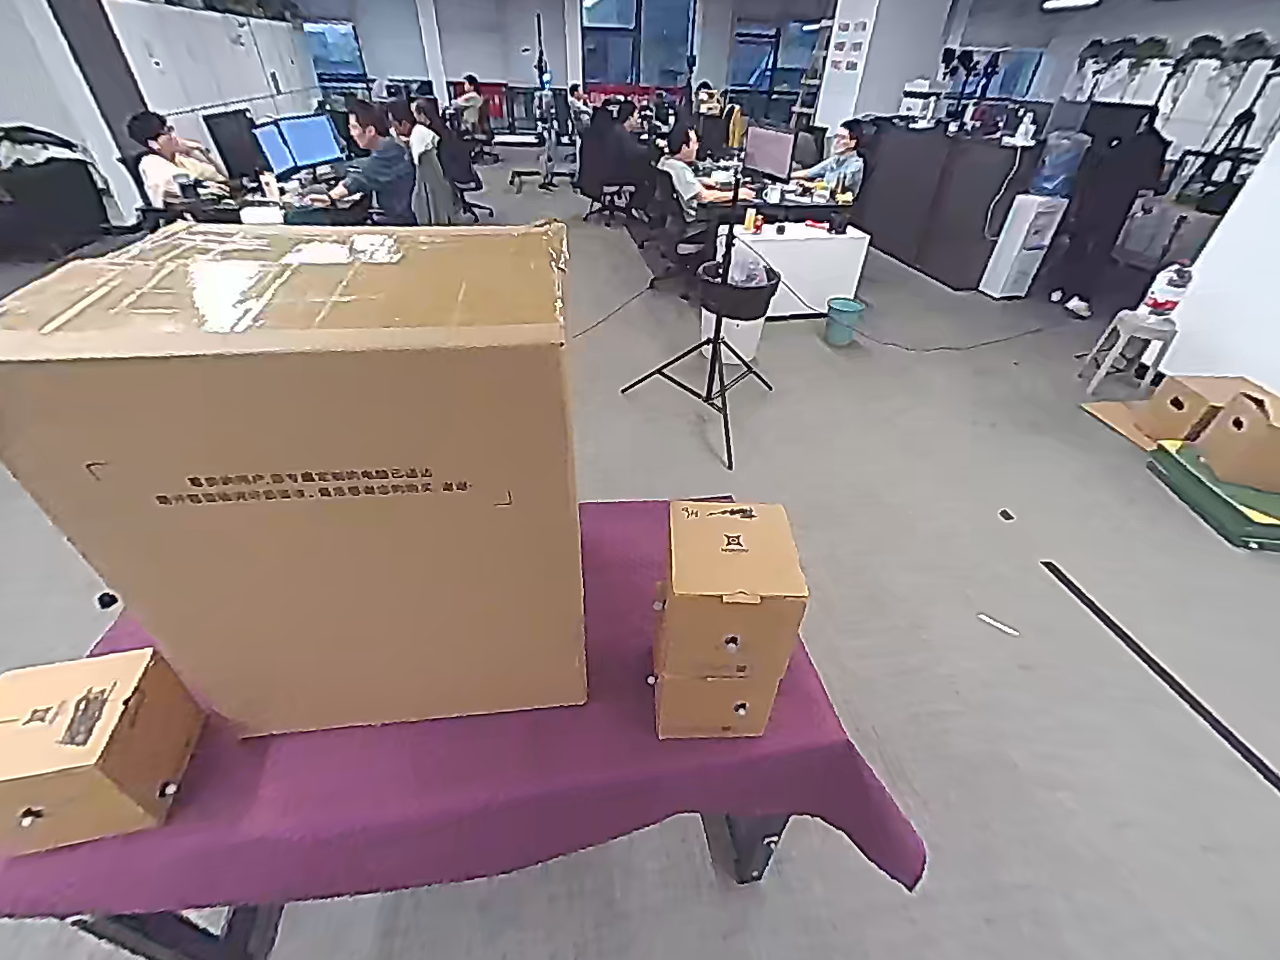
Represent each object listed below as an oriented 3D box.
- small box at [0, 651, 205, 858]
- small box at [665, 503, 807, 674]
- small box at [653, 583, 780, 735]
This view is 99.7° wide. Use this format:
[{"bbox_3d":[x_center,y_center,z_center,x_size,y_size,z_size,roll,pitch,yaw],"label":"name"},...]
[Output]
[{"bbox_3d":[-0.725,0.356,0.711,0.179,0.176,0.168,-7,37,-13],"label":"small box"},{"bbox_3d":[0.122,0.152,0.759,0.168,0.176,0.179,2,37,0],"label":"small box"},{"bbox_3d":[0.109,0.283,0.855,0.168,0.176,0.179,0,36,-3],"label":"small box"}]
